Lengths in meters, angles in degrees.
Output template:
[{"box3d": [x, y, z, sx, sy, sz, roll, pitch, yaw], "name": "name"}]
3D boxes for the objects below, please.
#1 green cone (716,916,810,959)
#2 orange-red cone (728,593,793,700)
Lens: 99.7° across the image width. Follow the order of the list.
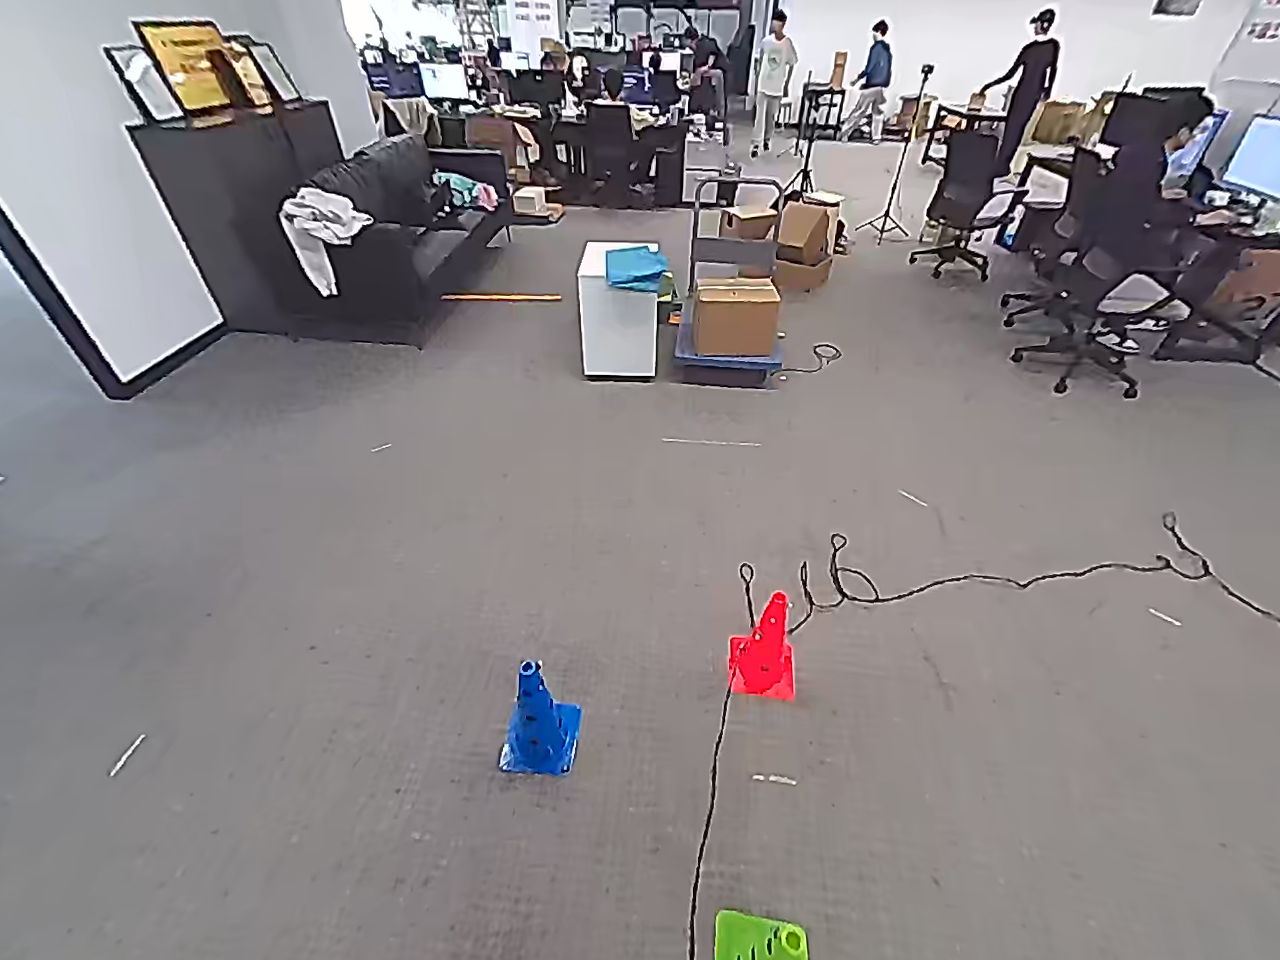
[{"box3d": [0.261, 0.914, 1.021, 0.200, 0.368, 0.202, 6, 39, 5], "name": "green cone"}, {"box3d": [0.376, 0.456, 1.580, 0.198, 0.360, 0.199, 6, 41, 8], "name": "orange-red cone"}]
